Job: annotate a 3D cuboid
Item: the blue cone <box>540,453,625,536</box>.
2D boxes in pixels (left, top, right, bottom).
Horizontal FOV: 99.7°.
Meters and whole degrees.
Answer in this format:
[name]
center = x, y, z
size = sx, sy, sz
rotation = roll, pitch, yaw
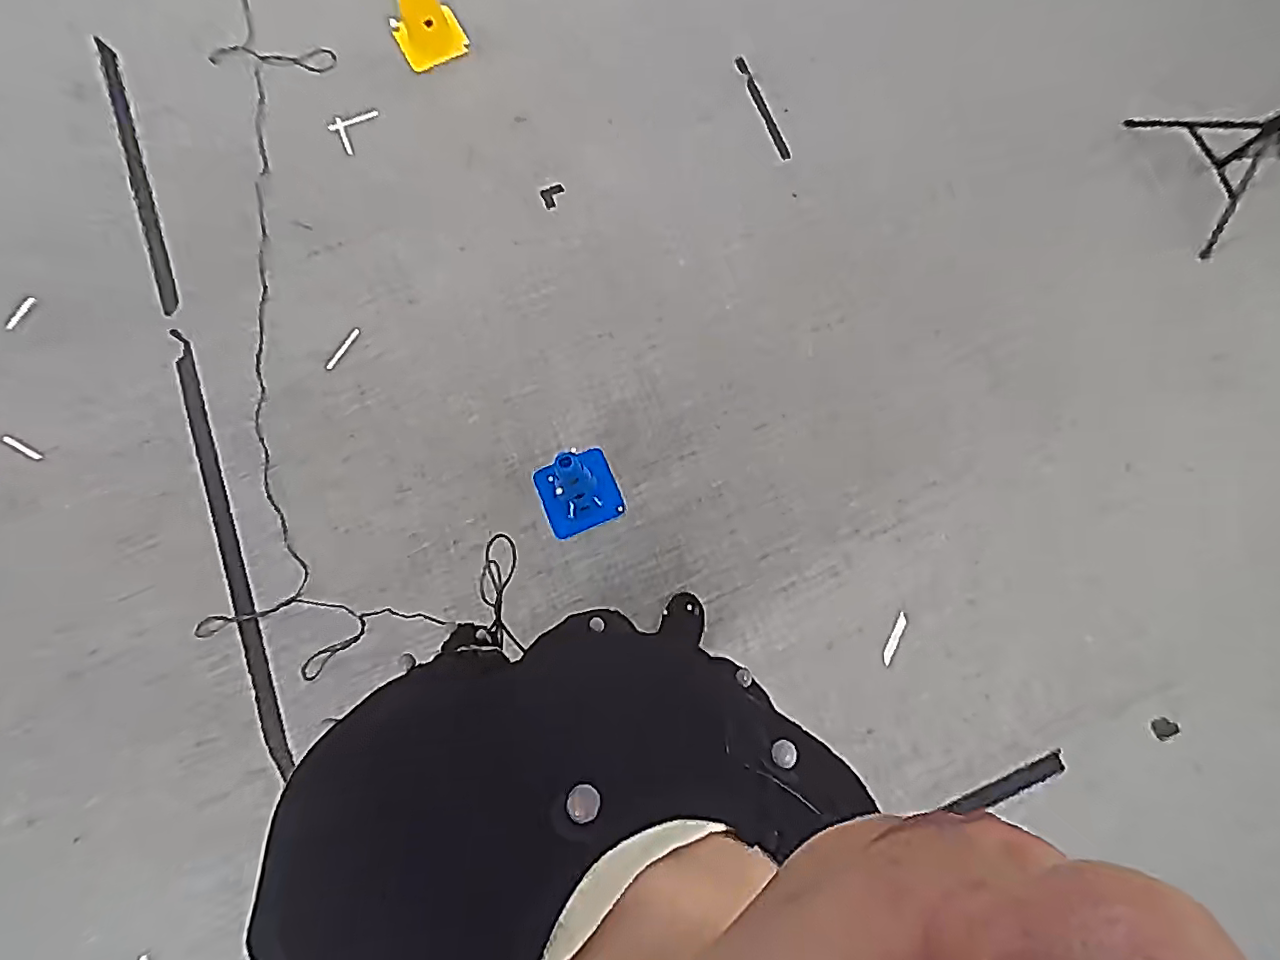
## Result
[blue cone]
center = -0.148, 0.003, 1.255
size = 0.192, 0.380, 0.193
rotation = -20, 80, -7
